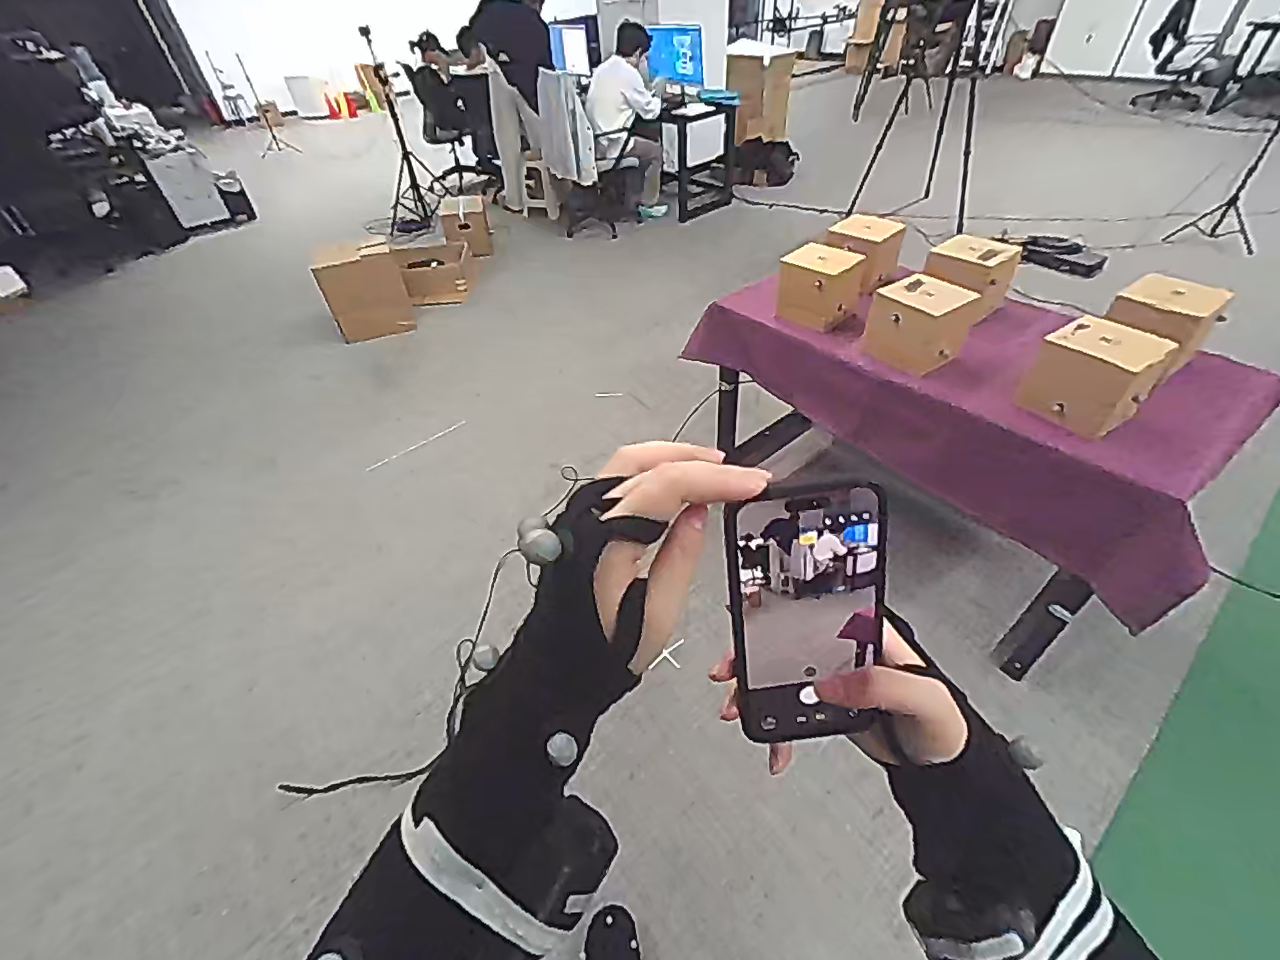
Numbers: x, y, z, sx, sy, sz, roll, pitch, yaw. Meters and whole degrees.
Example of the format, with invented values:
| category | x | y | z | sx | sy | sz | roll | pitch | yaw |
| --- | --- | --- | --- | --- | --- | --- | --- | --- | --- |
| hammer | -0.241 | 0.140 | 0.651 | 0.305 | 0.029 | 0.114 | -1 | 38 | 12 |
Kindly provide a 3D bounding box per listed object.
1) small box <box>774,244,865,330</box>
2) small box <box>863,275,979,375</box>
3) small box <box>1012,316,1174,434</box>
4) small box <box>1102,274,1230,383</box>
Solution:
| category | x | y | z | sx | sy | sz | roll | pitch | yaw |
| --- | --- | --- | --- | --- | --- | --- | --- | --- | --- |
| small box | 0.505 | -0.552 | 1.547 | 0.179 | 0.176 | 0.168 | 33 | 55 | 32 |
| small box | 0.691 | -0.388 | 1.355 | 0.168 | 0.176 | 0.179 | -26 | 48 | -21 |
| small box | 0.950 | -0.218 | 1.150 | 0.168 | 0.176 | 0.179 | -25 | 47 | -21 |
| small box | 1.203 | -0.357 | 1.273 | 0.179 | 0.176 | 0.168 | -29 | 48 | -22 |
